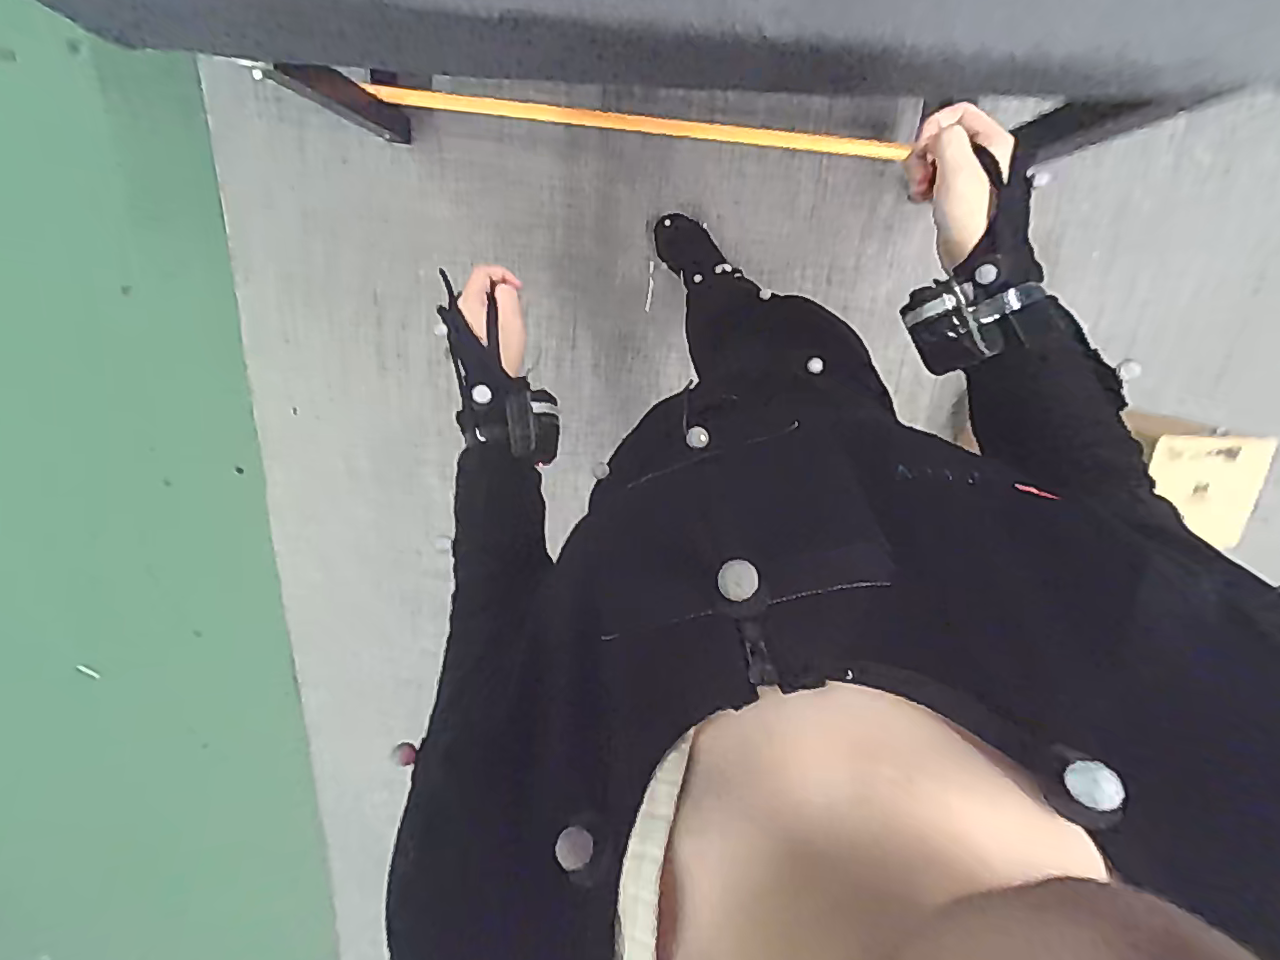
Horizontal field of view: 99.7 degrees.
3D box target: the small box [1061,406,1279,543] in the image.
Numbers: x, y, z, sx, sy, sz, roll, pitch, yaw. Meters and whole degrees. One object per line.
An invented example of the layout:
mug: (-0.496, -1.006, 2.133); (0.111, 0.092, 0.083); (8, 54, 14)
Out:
small box: (0.836, -0.015, 0.879); (0.168, 0.176, 0.179); (1, 109, 3)
